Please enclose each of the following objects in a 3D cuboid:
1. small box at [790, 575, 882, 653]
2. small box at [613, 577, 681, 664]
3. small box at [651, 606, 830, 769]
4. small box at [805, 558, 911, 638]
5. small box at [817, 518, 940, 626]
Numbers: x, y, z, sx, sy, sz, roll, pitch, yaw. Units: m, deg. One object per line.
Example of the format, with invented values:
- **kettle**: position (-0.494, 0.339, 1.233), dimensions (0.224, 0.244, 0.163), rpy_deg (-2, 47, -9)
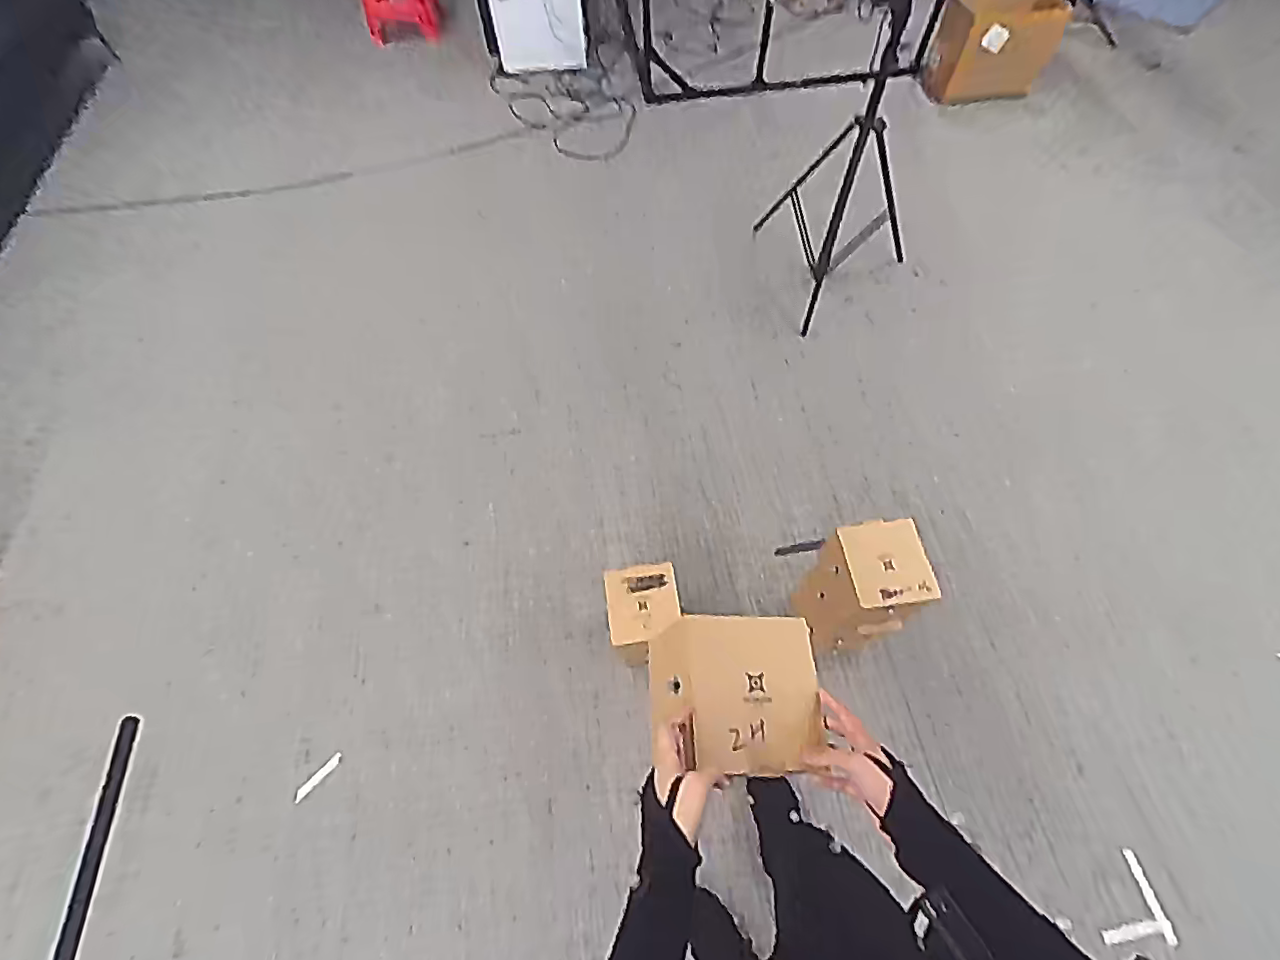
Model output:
- **small box**: position (0.516, 0.356, 1.454), dimensions (0.168, 0.176, 0.179), rpy_deg (-6, 62, -2)
- **small box**: position (0.022, 0.382, 1.457), dimensions (0.168, 0.176, 0.179), rpy_deg (-10, 62, -2)
- **small box**: position (0.114, 0.272, 0.698), dimensions (0.168, 0.176, 0.179), rpy_deg (5, 62, -14)
- **small box**: position (0.518, 0.277, 1.310), dimensions (0.168, 0.176, 0.179), rpy_deg (-6, 62, -2)
- **small box**: position (0.499, 0.201, 1.165), dimensions (0.168, 0.176, 0.179), rpy_deg (-7, 61, -2)
